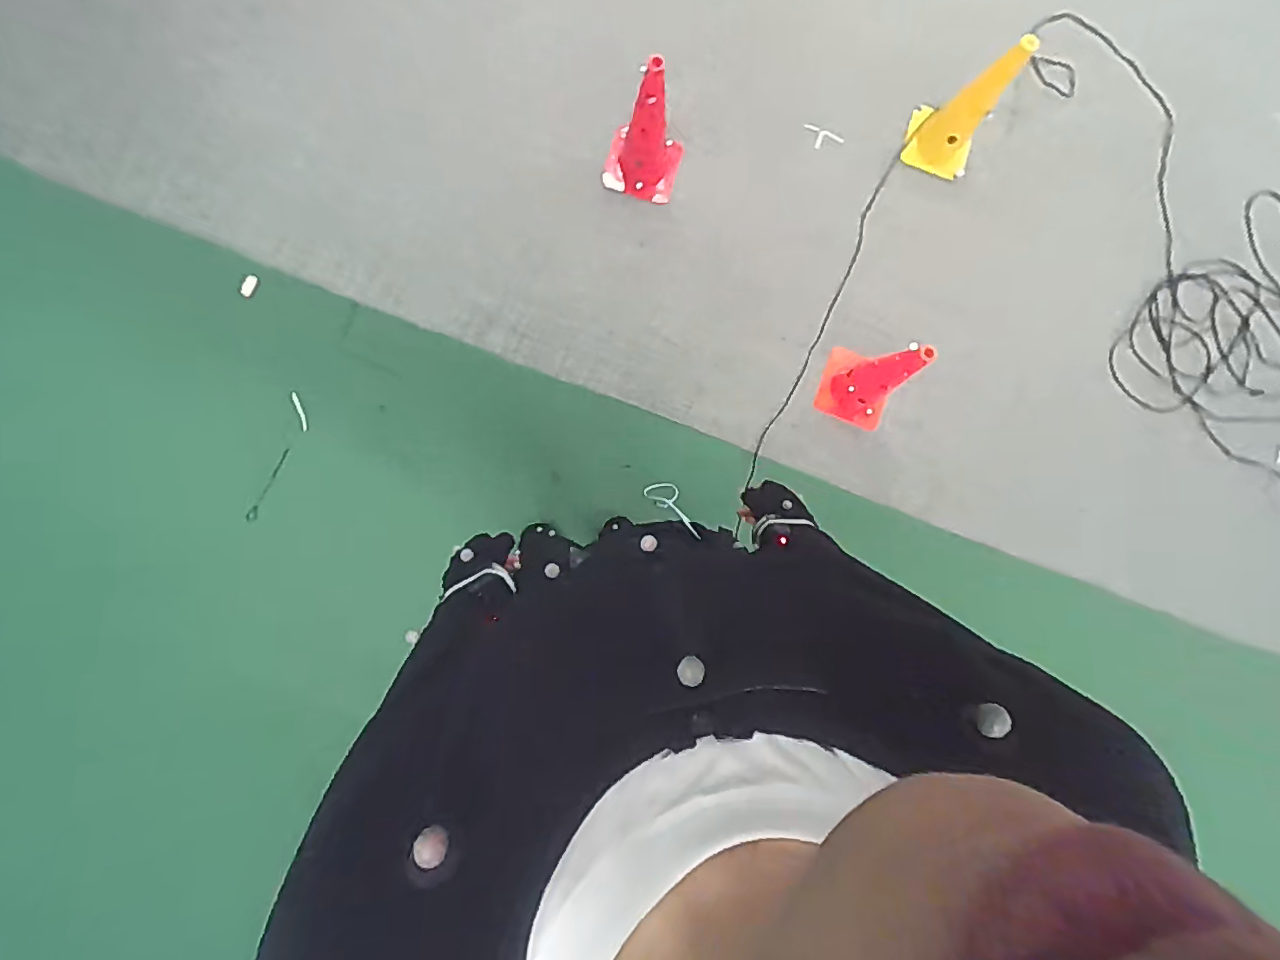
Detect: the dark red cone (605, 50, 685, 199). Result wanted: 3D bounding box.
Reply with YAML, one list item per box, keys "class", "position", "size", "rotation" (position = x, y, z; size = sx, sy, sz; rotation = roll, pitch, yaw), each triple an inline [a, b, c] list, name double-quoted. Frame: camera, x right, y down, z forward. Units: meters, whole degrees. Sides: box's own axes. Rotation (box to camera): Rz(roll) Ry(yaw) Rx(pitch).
- class: "dark red cone"
  position: [0.029, -0.919, 1.377]
  size: [0.202, 0.394, 0.201]
  rotation: [15, 86, -3]

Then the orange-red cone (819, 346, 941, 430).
- class: "orange-red cone"
  position: [0.648, -0.276, 1.400]
  size: [0.198, 0.360, 0.199]
  rotation: [21, 84, -4]
